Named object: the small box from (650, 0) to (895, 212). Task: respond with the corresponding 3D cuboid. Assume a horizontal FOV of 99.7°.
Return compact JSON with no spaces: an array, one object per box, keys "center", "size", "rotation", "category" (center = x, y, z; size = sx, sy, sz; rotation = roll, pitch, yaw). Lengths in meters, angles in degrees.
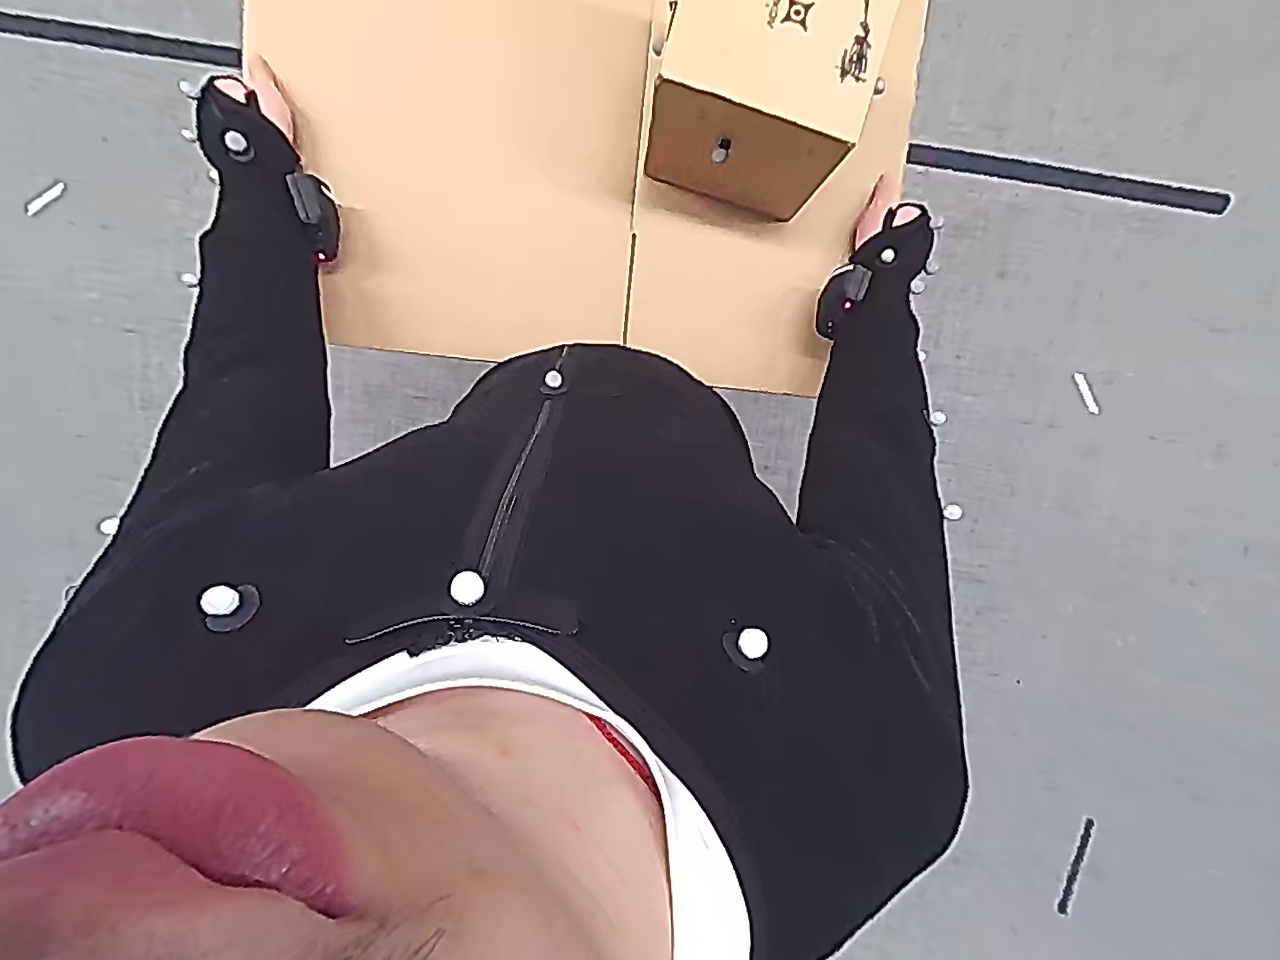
[{"center":[0.114,-0.390,0.523],"size":[0.179,0.176,0.168],"rotation":[16,94,-4],"category":"small box"}]
